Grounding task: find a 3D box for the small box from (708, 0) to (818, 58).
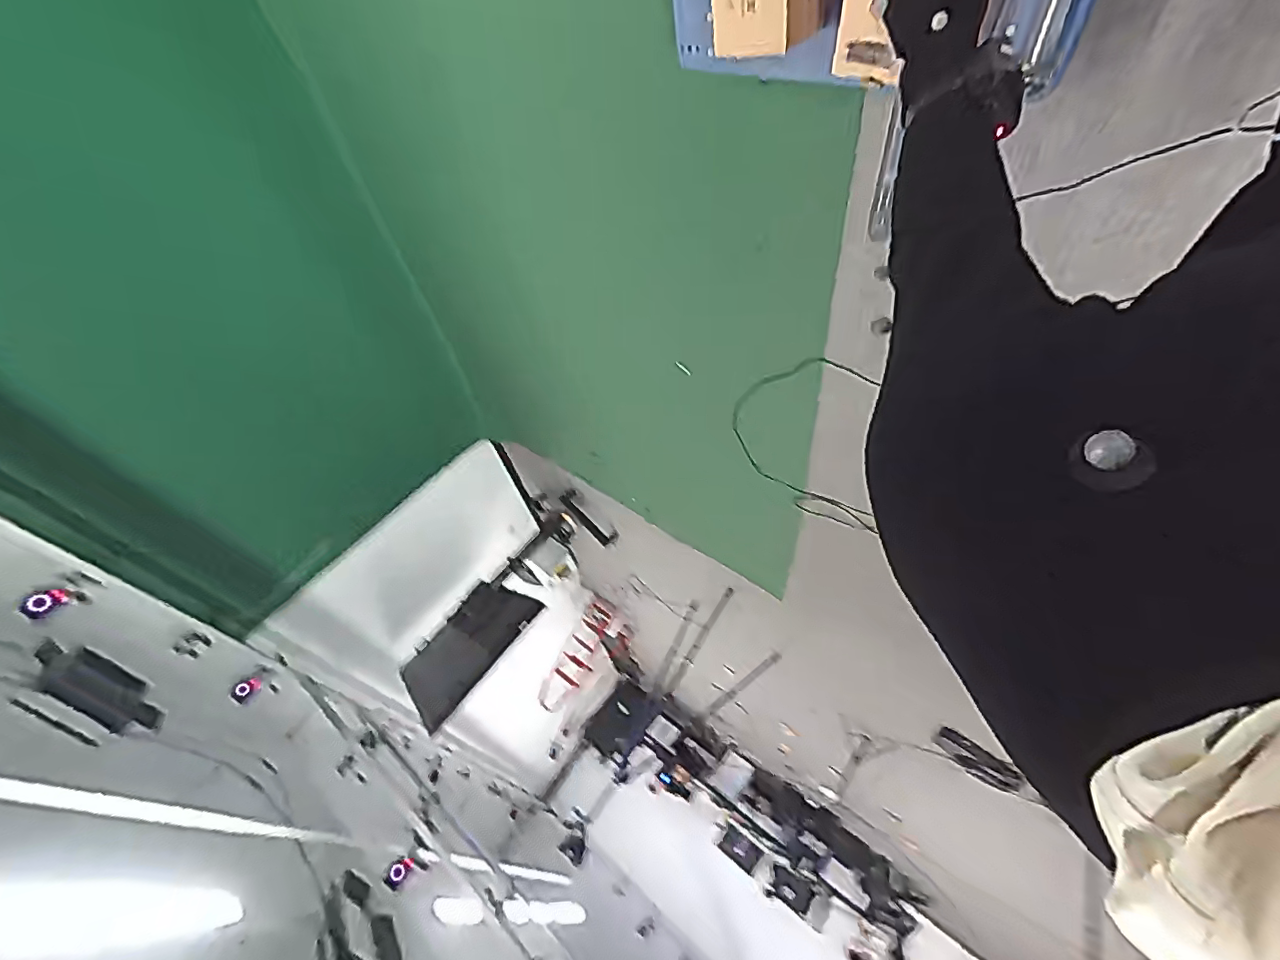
[{"bbox_3d":[0.258,-0.996,1.110,0.179,0.176,0.168,26,151,30],"label":"small box"}]
